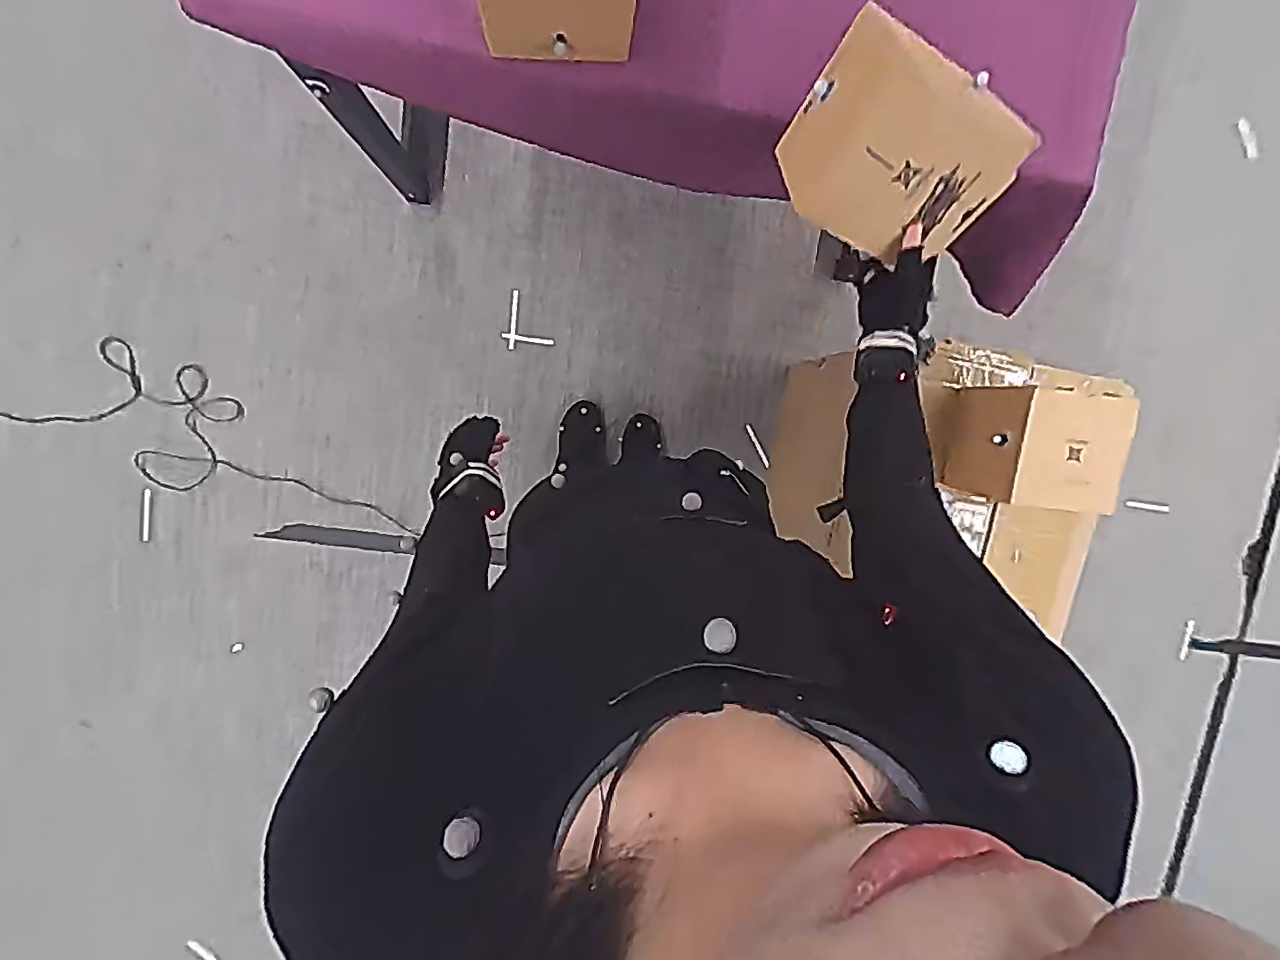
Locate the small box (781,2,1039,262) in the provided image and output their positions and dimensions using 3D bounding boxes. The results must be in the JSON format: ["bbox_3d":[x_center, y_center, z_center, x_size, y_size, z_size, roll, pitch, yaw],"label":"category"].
[{"bbox_3d":[0.284,-0.389,0.608,0.179,0.176,0.168,18,138,-18],"label":"small box"}]

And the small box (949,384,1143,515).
[{"bbox_3d":[0.623,-0.053,0.854,0.168,0.176,0.179,6,98,-4],"label":"small box"}]

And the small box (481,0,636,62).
[{"bbox_3d":[-0.093,-0.609,0.606,0.179,0.176,0.168,-3,97,-6],"label":"small box"}]
